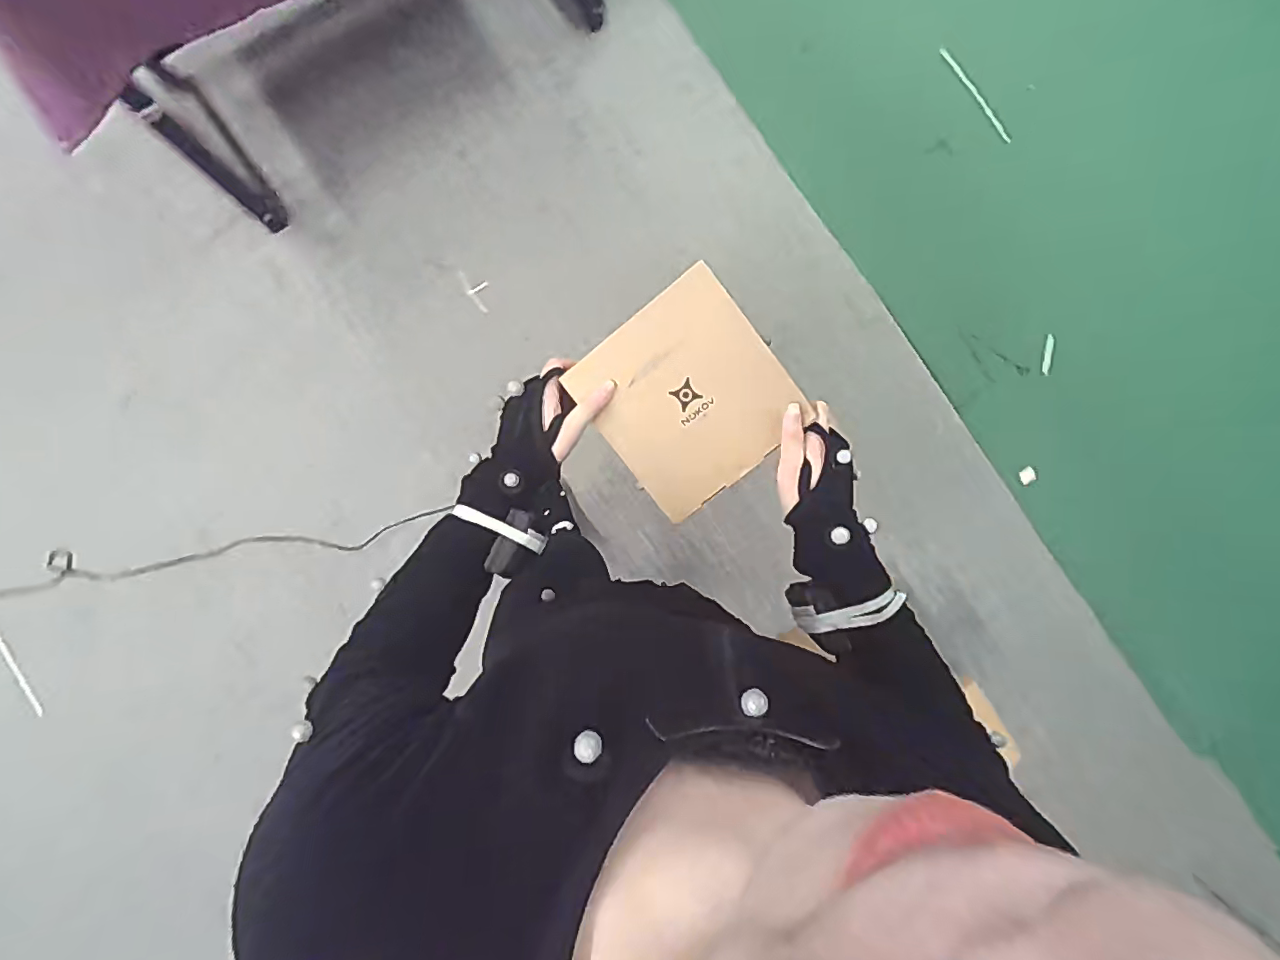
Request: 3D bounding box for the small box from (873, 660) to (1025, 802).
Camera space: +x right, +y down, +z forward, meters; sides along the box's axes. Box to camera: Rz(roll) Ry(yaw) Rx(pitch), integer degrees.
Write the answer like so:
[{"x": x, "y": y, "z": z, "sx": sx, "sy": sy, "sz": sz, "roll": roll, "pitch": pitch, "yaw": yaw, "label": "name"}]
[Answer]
[{"x": 0.622, "y": 0.501, "z": 1.109, "sx": 0.168, "sy": 0.176, "sz": 0.179, "roll": -31, "pitch": 89, "yaw": -6, "label": "small box"}]
